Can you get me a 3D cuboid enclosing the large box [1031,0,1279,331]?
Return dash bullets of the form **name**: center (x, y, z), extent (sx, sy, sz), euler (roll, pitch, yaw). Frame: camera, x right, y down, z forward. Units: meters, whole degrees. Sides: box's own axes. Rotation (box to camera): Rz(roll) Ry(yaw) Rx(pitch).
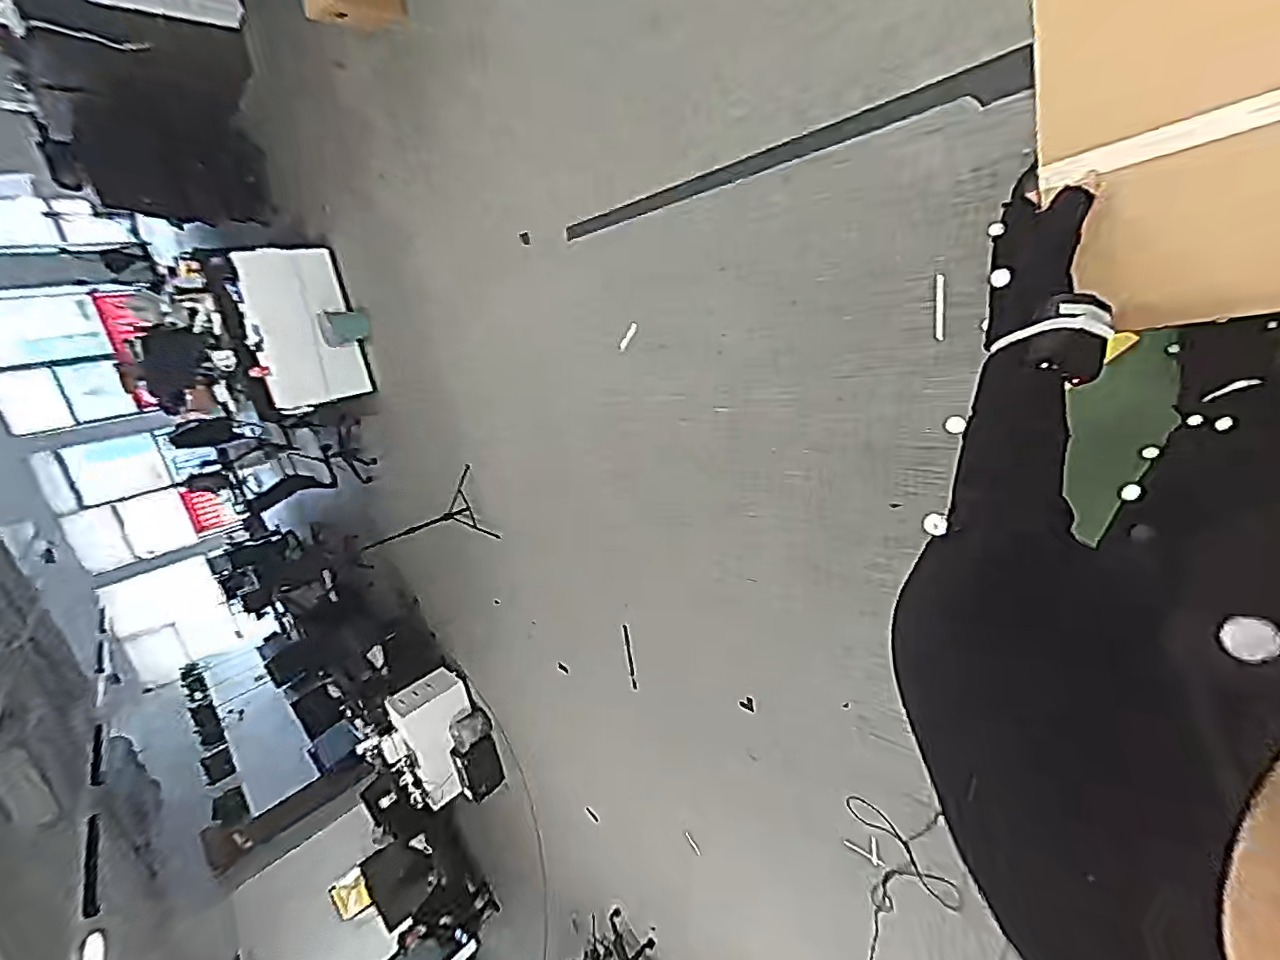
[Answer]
- **large box**: center (0.623, -0.341, 0.470), extent (0.408, 0.320, 0.320), euler (1, 110, 47)
